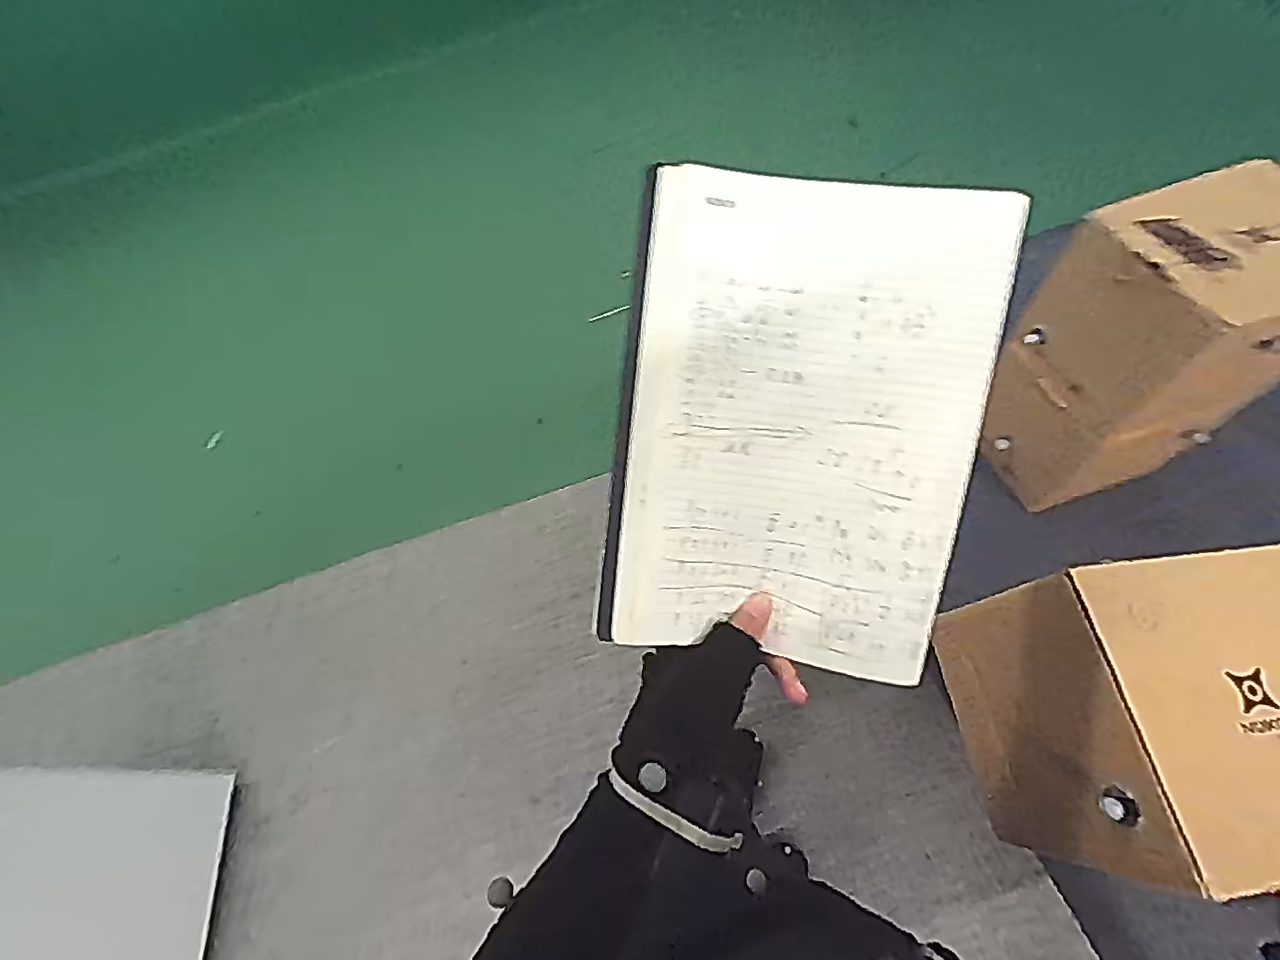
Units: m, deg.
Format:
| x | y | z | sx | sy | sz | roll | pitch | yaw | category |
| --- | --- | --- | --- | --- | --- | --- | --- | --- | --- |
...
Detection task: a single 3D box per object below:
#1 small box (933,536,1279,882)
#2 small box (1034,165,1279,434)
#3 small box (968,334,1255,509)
| x | y | z | sx | sy | sz | roll | pitch | yaw | category |
| --- | --- | --- | --- | --- | --- | --- | --- | --- | --- |
| 0.352 | 0.155 | 0.391 | 0.168 | 0.176 | 0.179 | -5 | 66 | -6 | small box |
| 0.544 | -0.170 | 0.543 | 0.179 | 0.176 | 0.168 | -17 | 60 | -1 | small box |
| 0.565 | -0.087 | 0.683 | 0.179 | 0.176 | 0.168 | -18 | 59 | -1 | small box |
